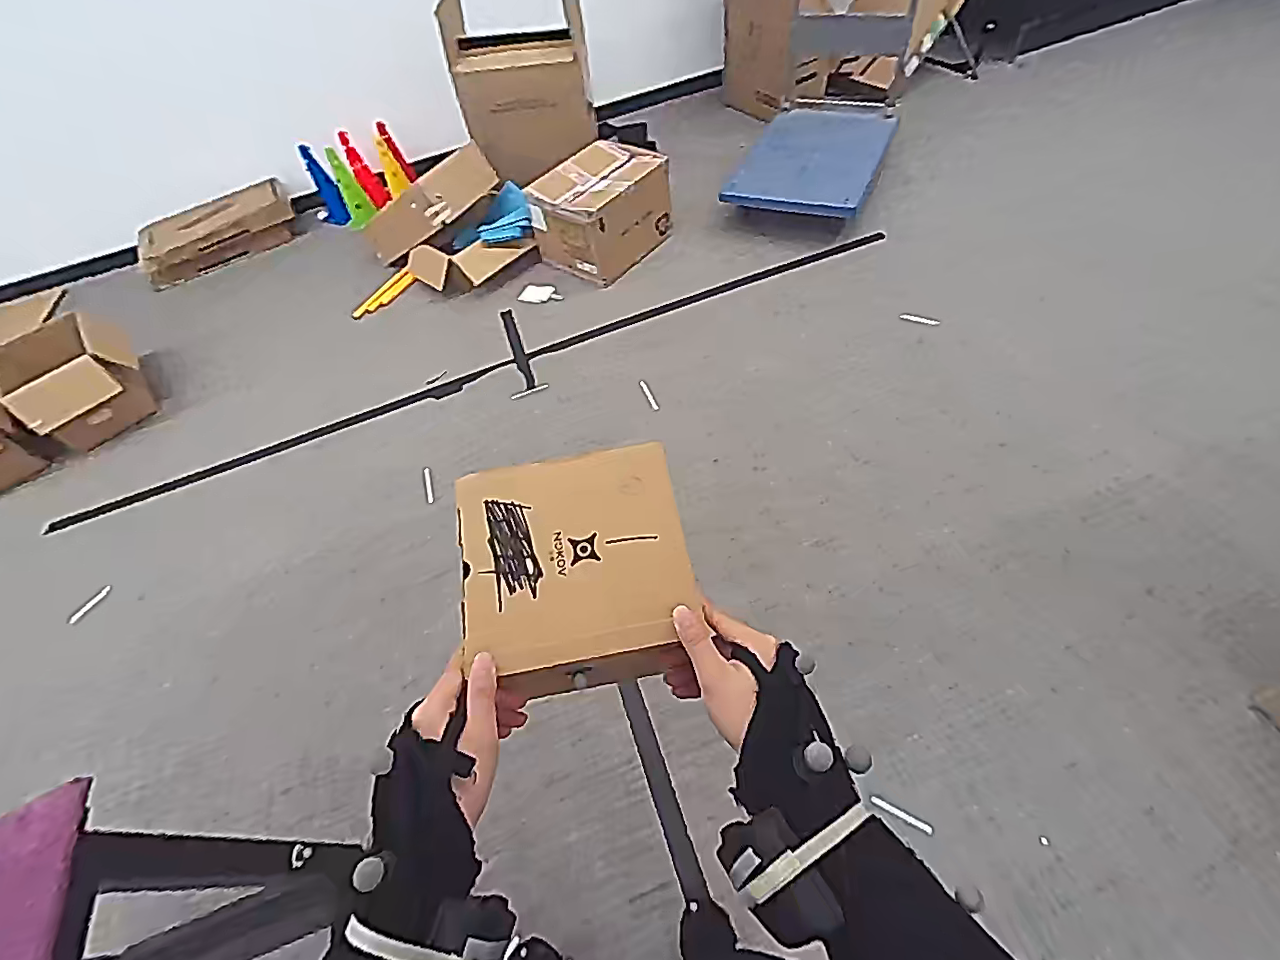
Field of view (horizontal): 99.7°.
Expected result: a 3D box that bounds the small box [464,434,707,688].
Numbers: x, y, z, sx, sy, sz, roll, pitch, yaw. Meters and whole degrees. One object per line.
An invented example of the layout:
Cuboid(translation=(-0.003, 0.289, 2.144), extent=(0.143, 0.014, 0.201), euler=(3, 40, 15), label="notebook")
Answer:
Cuboid(translation=(-0.046, 0.083, 0.490), extent=(0.179, 0.176, 0.168), euler=(-10, 63, -3), label="small box")
